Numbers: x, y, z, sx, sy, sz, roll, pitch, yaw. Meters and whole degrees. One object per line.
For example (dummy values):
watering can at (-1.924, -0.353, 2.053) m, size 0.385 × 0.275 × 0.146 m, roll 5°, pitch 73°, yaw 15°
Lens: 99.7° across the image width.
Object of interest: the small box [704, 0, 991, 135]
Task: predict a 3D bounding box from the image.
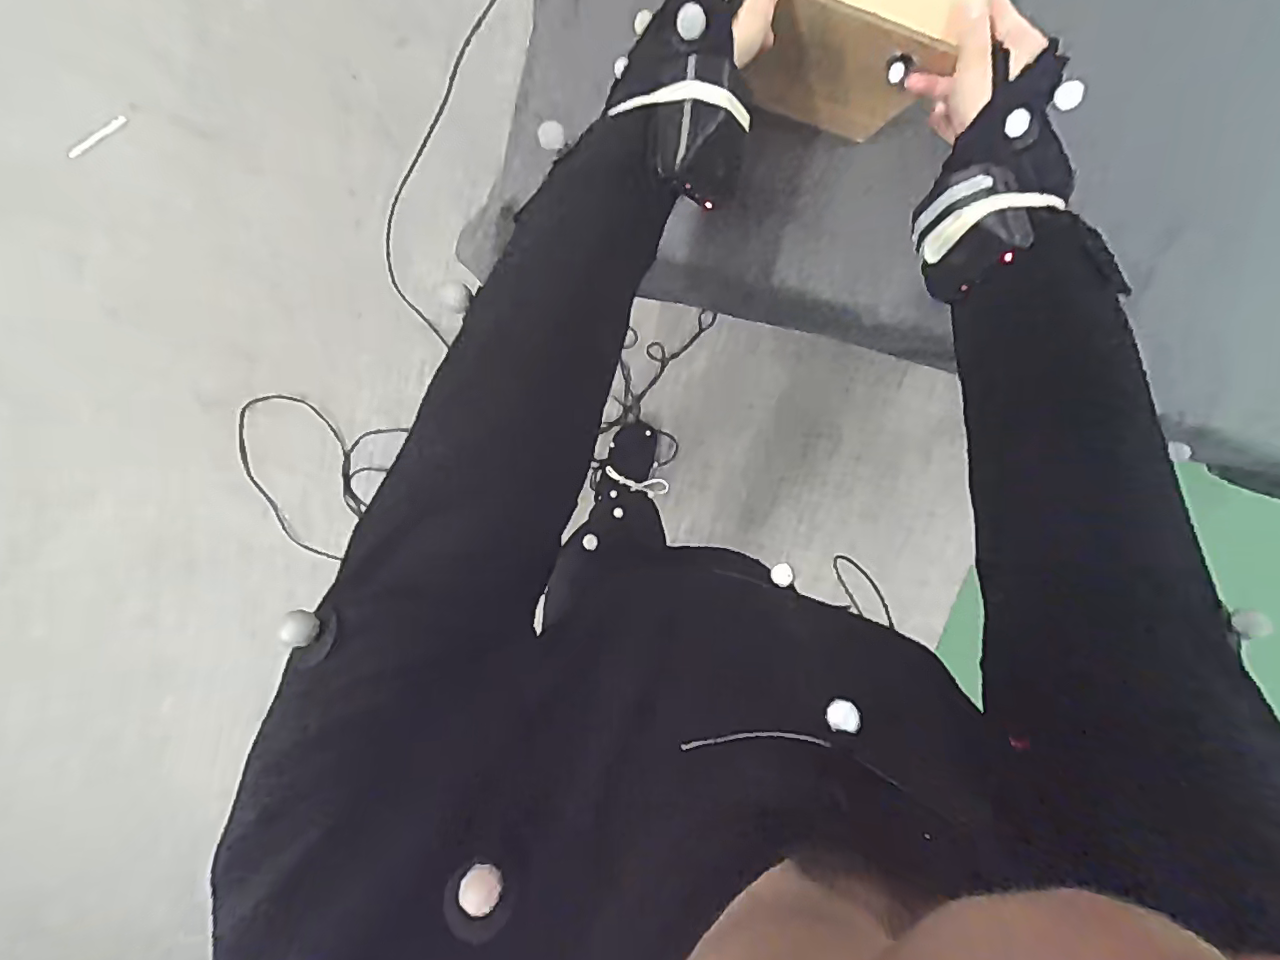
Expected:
small box at (0.164, -0.412, 0.431) m, size 0.179 × 0.176 × 0.168 m, roll 13°, pitch 102°, yaw -9°

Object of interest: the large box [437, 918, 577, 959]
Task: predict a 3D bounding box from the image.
large box at (-0.417, 1.539, 1.531) m, size 0.408 × 0.320 × 0.320 m, roll 19°, pitch 100°, yaw -8°
